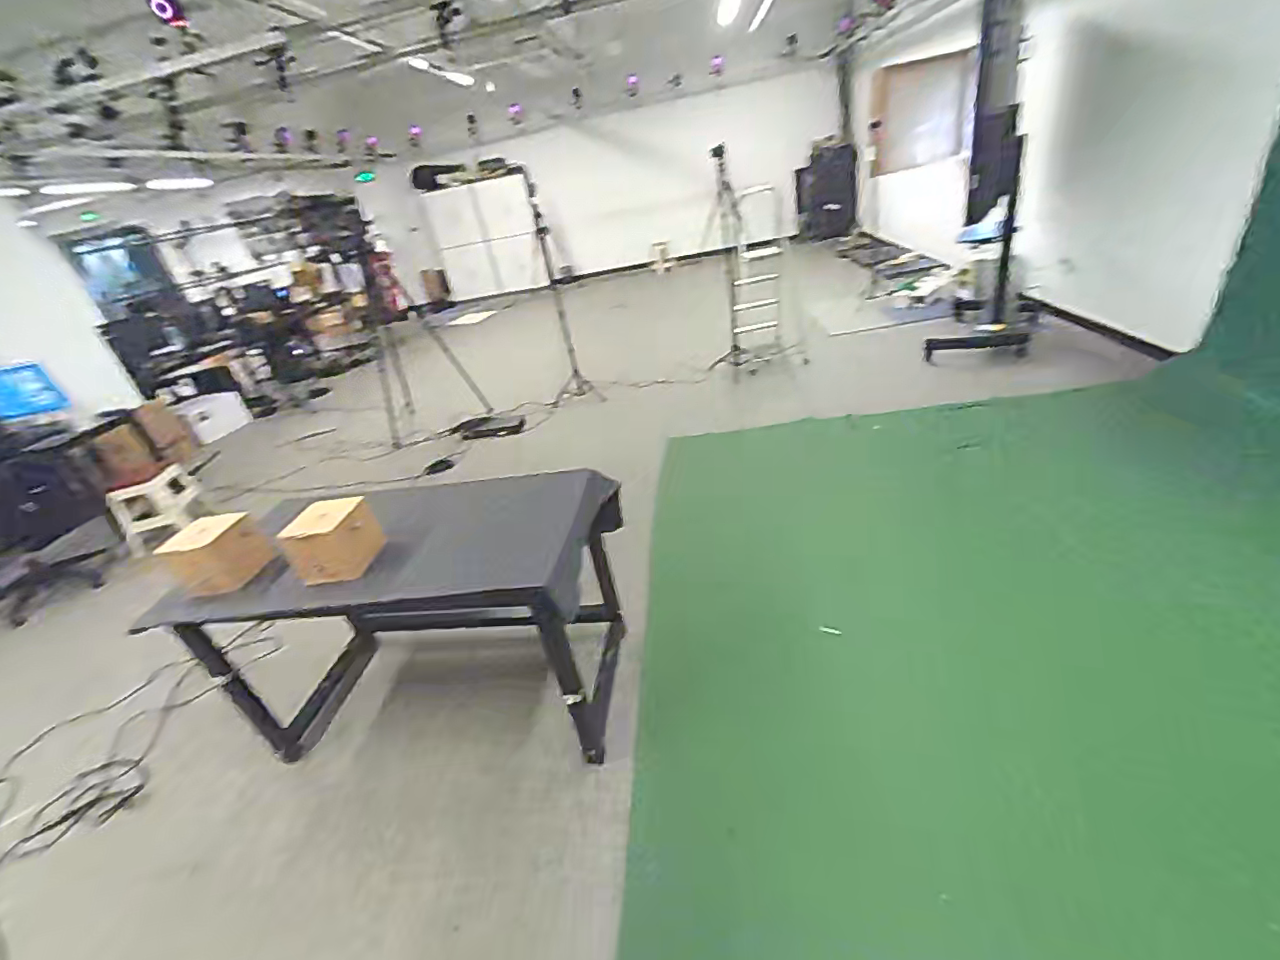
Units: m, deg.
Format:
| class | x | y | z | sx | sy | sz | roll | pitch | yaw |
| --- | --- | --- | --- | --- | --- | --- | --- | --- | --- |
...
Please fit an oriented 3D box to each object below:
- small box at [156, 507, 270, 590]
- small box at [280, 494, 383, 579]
| class | x | y | z | sx | sy | sz | roll | pitch | yaw |
| --- | --- | --- | --- | --- | --- | --- | --- | --- | --- |
| small box | -1.232 | 0.201 | 1.582 | 0.168 | 0.176 | 0.179 | -6 | 29 | 8 |
| small box | -0.862 | 0.160 | 1.536 | 0.168 | 0.176 | 0.179 | -6 | 30 | 9 |
